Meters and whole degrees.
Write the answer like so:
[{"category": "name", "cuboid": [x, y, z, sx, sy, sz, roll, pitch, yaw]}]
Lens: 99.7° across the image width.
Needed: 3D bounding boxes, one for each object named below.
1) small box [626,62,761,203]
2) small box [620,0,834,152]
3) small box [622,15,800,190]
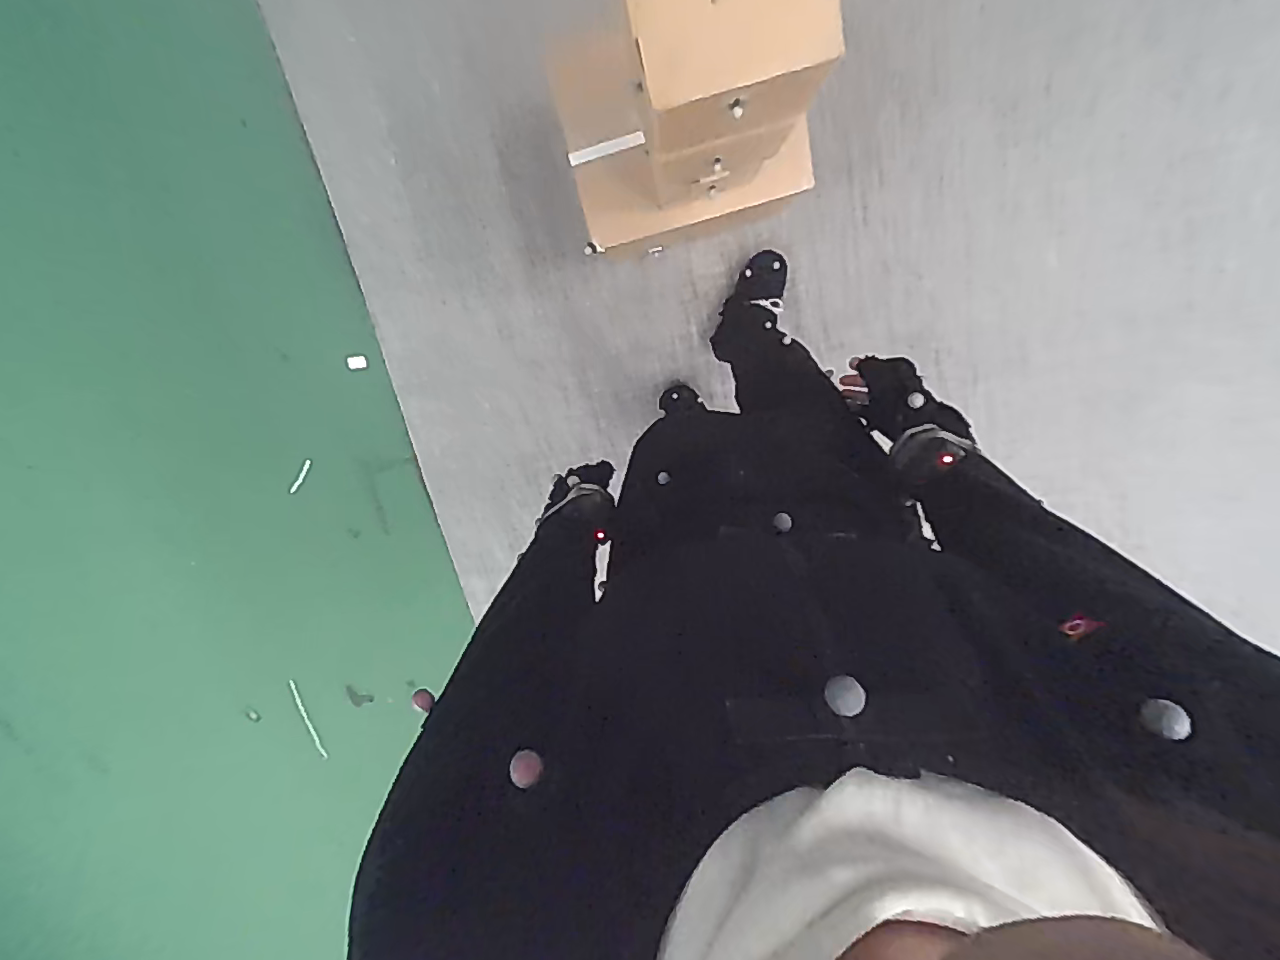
[{"category": "small box", "cuboid": [0.085, -0.552, 0.847, 0.168, 0.176, 0.179, -14, 107, 8]}, {"category": "small box", "cuboid": [0.074, -0.453, 0.537, 0.179, 0.176, 0.168, -12, 108, 6]}, {"category": "small box", "cuboid": [0.085, -0.496, 0.692, 0.179, 0.176, 0.168, -15, 107, 7]}]
